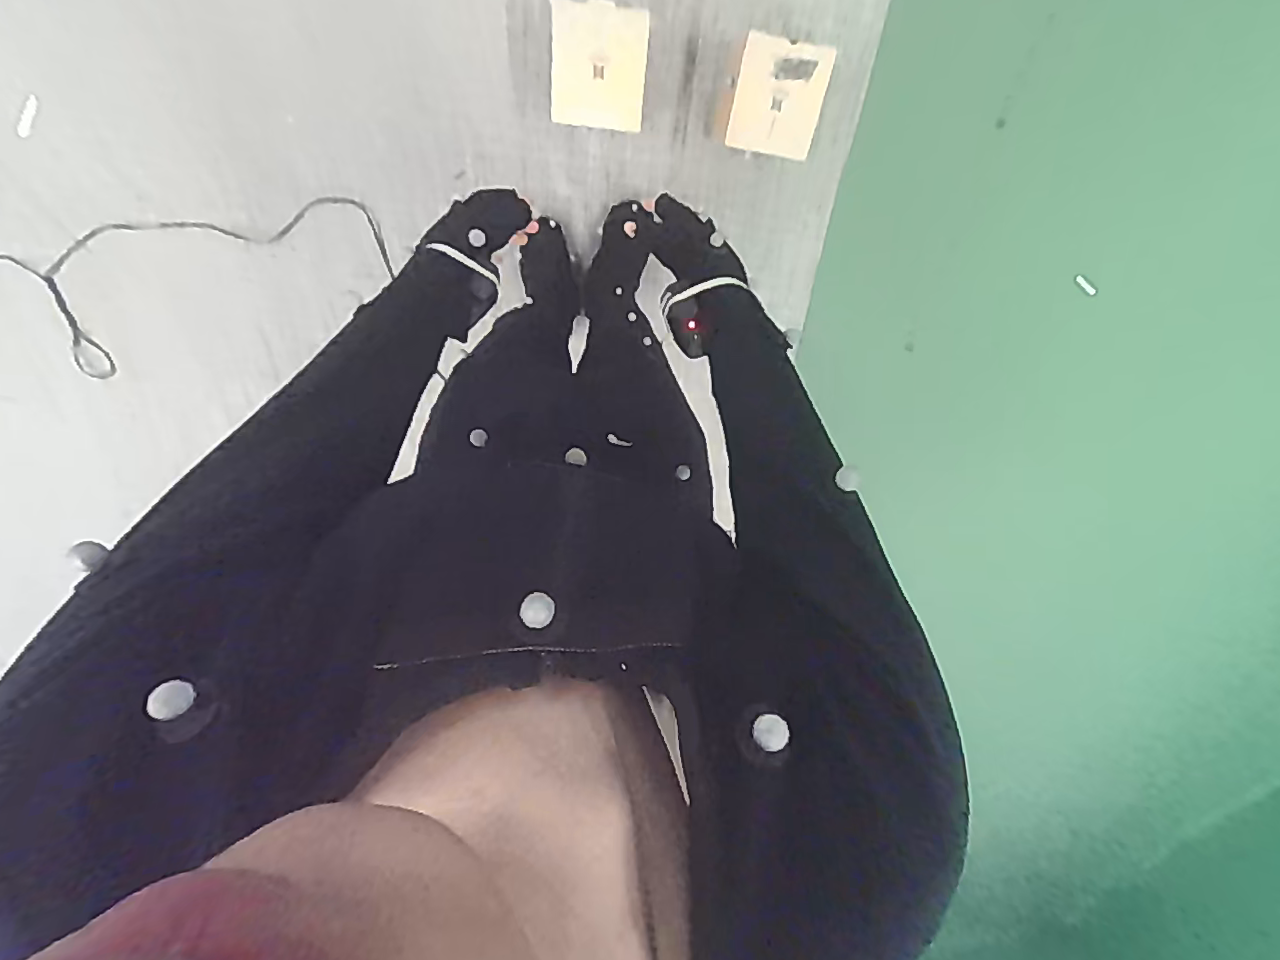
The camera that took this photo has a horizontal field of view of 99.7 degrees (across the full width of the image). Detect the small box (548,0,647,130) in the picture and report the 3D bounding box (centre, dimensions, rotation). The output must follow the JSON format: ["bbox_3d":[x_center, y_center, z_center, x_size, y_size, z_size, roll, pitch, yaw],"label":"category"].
[{"bbox_3d":[-0.081,-0.767,1.008,0.168,0.176,0.179,3,123,-6],"label":"small box"}]

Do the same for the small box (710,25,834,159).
[{"bbox_3d":[0.242,-0.741,1.046,0.168,0.176,0.179,6,124,-8],"label":"small box"}]
